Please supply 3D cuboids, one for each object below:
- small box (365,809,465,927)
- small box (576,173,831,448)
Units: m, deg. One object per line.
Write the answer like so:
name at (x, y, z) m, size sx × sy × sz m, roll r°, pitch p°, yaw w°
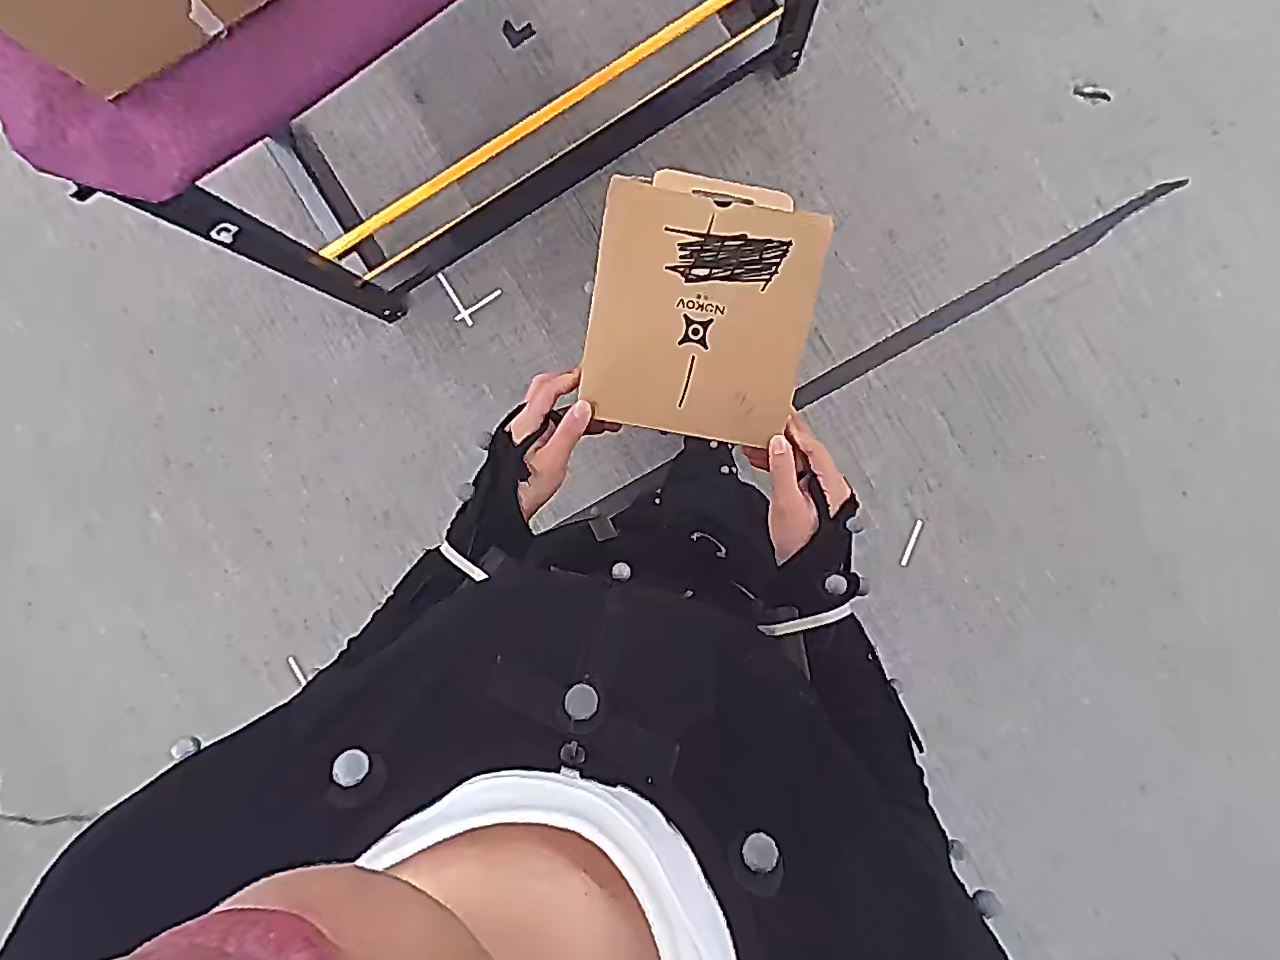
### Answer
small box at (-0.524, 0.908, 1.276) m, size 0.179 × 0.176 × 0.168 m, roll -4°, pitch 78°, yaw -7°
small box at (0.045, -0.140, 0.484) m, size 0.168 × 0.176 × 0.179 m, roll 11°, pitch 103°, yaw -1°
